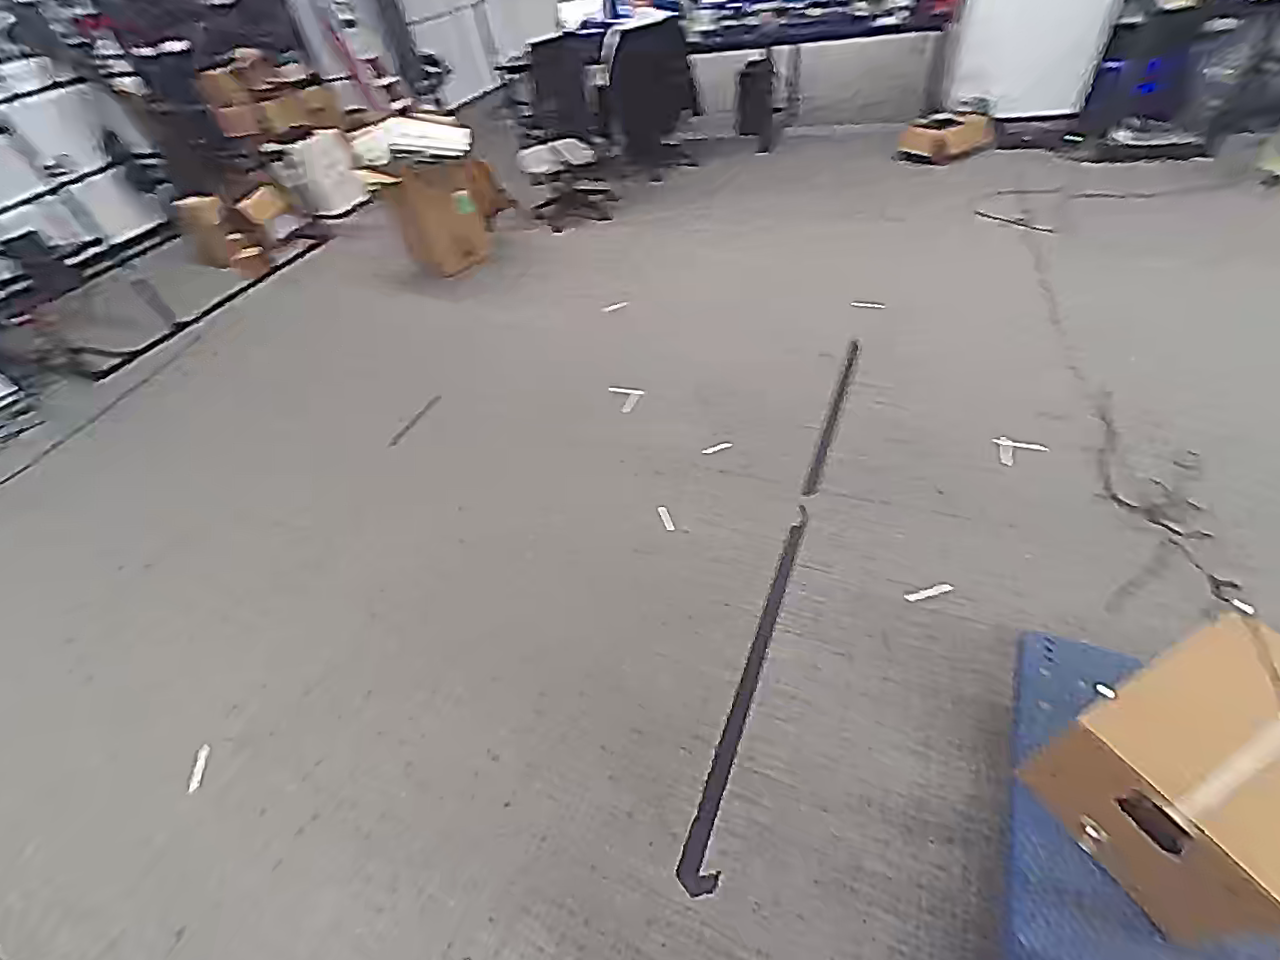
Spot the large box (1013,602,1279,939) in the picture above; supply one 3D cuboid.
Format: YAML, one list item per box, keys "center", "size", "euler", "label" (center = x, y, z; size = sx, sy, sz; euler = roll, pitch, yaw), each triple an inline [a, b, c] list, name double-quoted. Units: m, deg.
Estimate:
- center: [0.974, 0.500, 0.950]
  size: [0.408, 0.320, 0.320]
  euler: [-27, 49, -14]
  label: "large box"
